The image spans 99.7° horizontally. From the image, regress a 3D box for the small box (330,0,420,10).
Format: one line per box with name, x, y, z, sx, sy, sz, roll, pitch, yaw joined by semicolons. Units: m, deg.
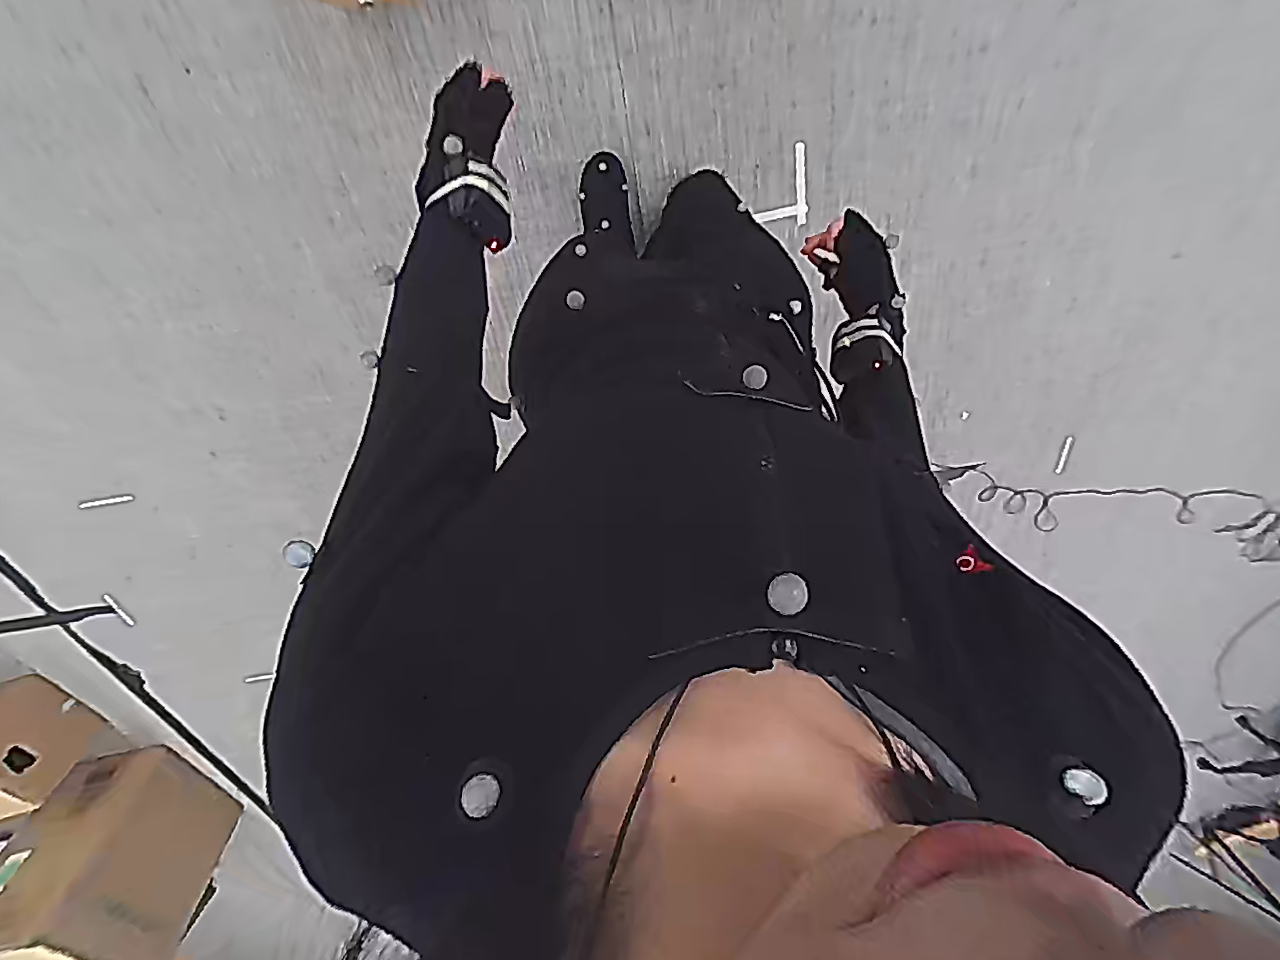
small box;-0.499;-0.945;0.930;0.168;0.176;0.179;-7;124;0
